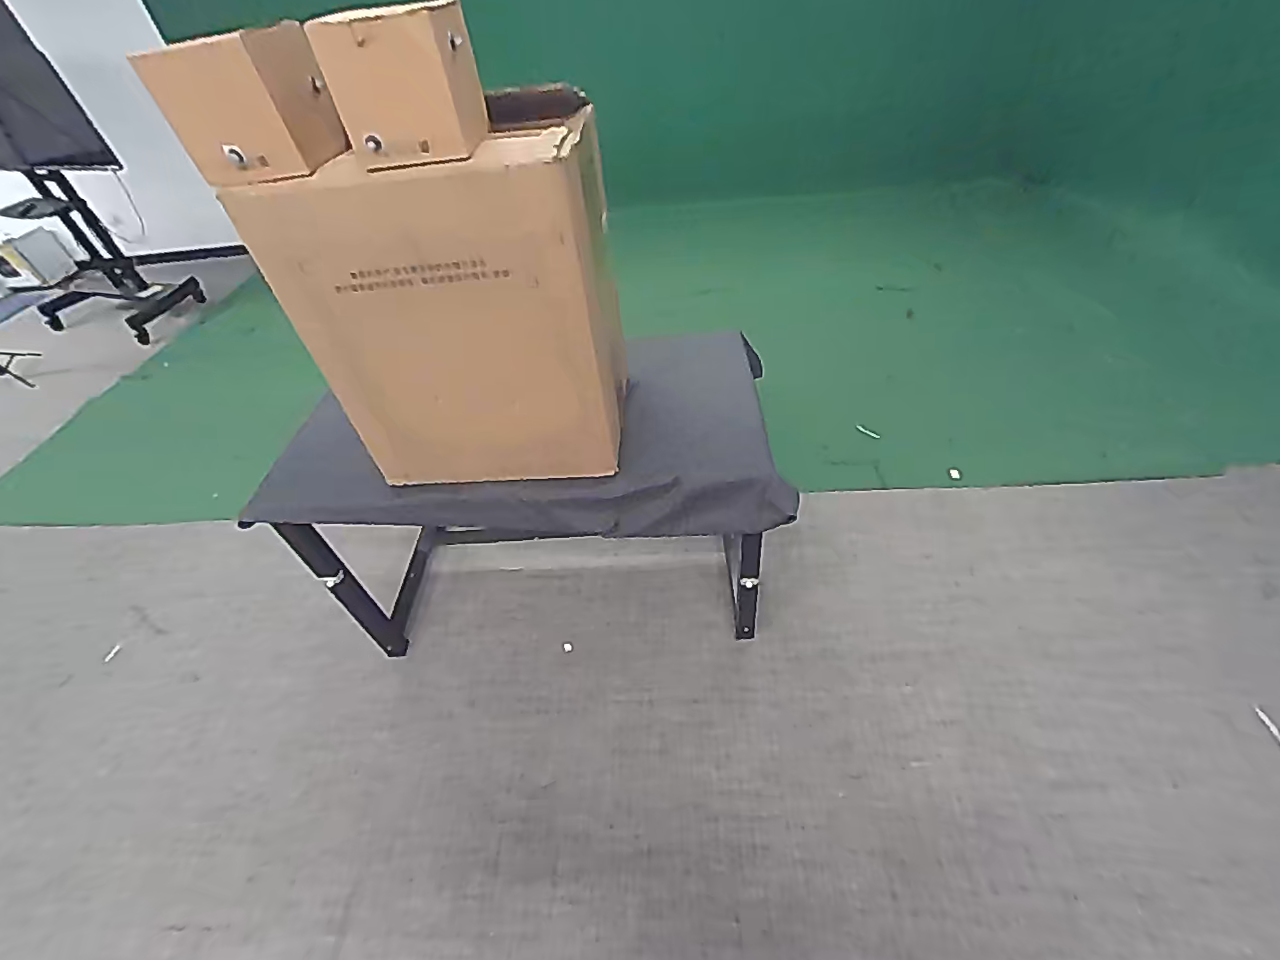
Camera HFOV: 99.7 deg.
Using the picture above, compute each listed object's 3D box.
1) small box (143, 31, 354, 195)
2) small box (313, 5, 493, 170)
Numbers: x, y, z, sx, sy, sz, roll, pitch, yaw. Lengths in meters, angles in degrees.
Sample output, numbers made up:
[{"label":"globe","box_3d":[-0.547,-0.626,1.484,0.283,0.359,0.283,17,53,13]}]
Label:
[{"label":"small box","box_3d":[-0.576,-0.560,0.830,0.168,0.176,0.179,-6,46,6]},{"label":"small box","box_3d":[-0.330,-0.573,0.799,0.168,0.176,0.179,-4,44,4]}]
